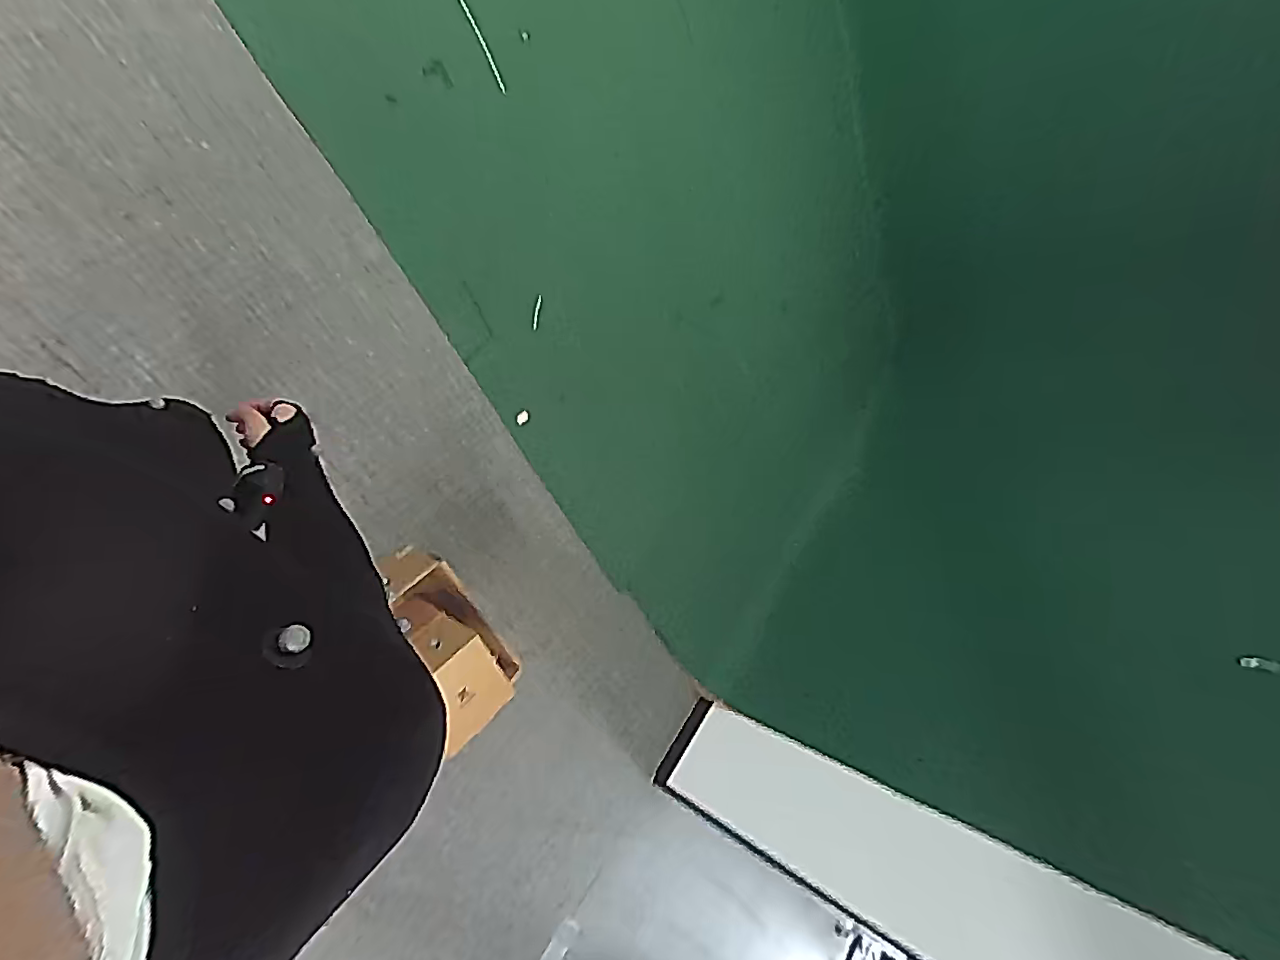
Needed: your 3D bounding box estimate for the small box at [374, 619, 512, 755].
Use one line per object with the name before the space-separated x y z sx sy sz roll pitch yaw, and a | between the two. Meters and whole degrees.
small box | -0.399 0.404 1.092 0.168 0.176 0.179 -41 124 -33
